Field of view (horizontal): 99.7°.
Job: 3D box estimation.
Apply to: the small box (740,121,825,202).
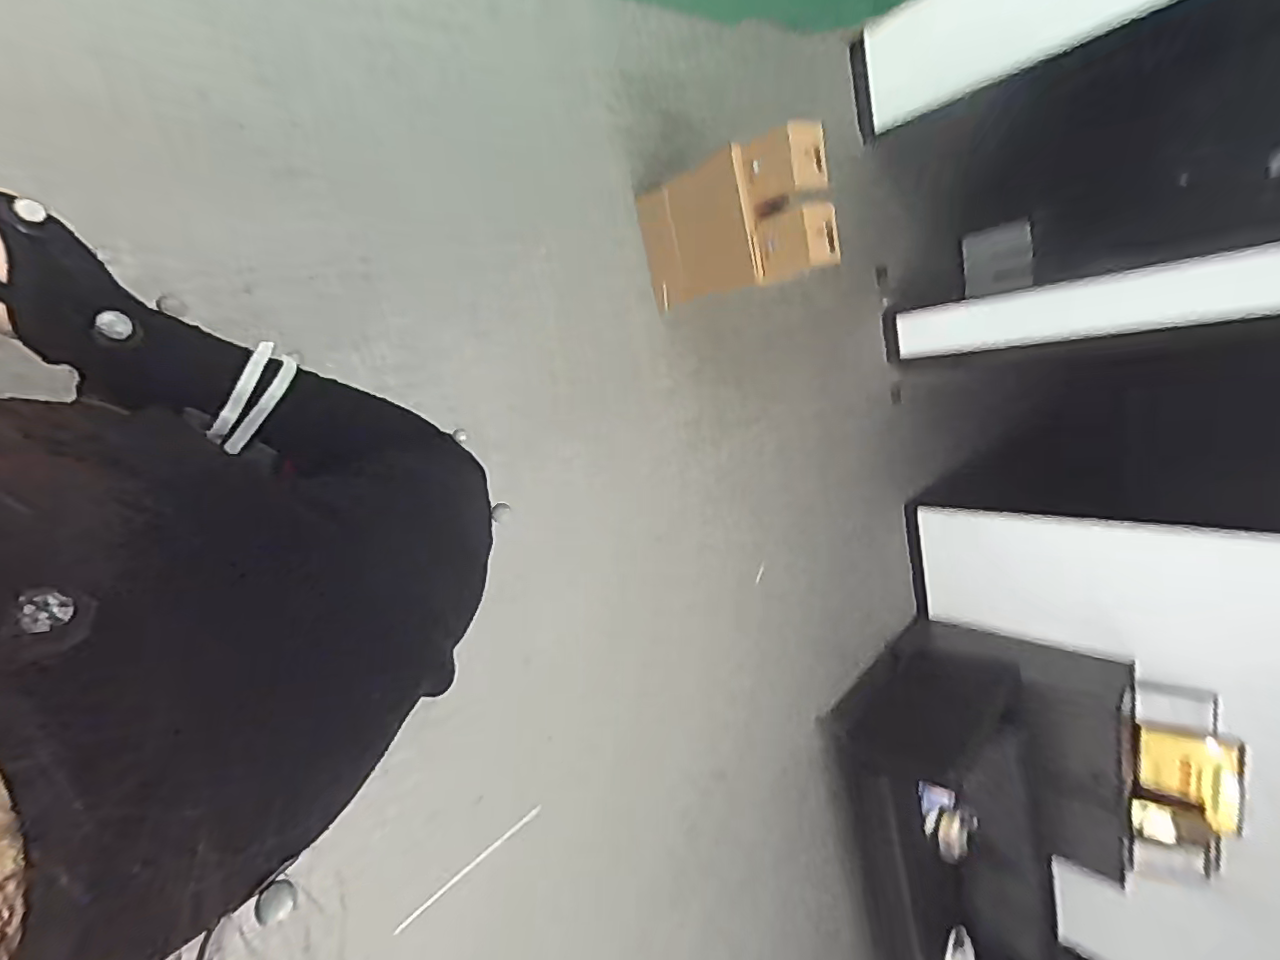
[{"bbox_3d":[0.425,-0.946,1.616,0.179,0.176,0.168,-24,110,-34],"label":"small box"}]
